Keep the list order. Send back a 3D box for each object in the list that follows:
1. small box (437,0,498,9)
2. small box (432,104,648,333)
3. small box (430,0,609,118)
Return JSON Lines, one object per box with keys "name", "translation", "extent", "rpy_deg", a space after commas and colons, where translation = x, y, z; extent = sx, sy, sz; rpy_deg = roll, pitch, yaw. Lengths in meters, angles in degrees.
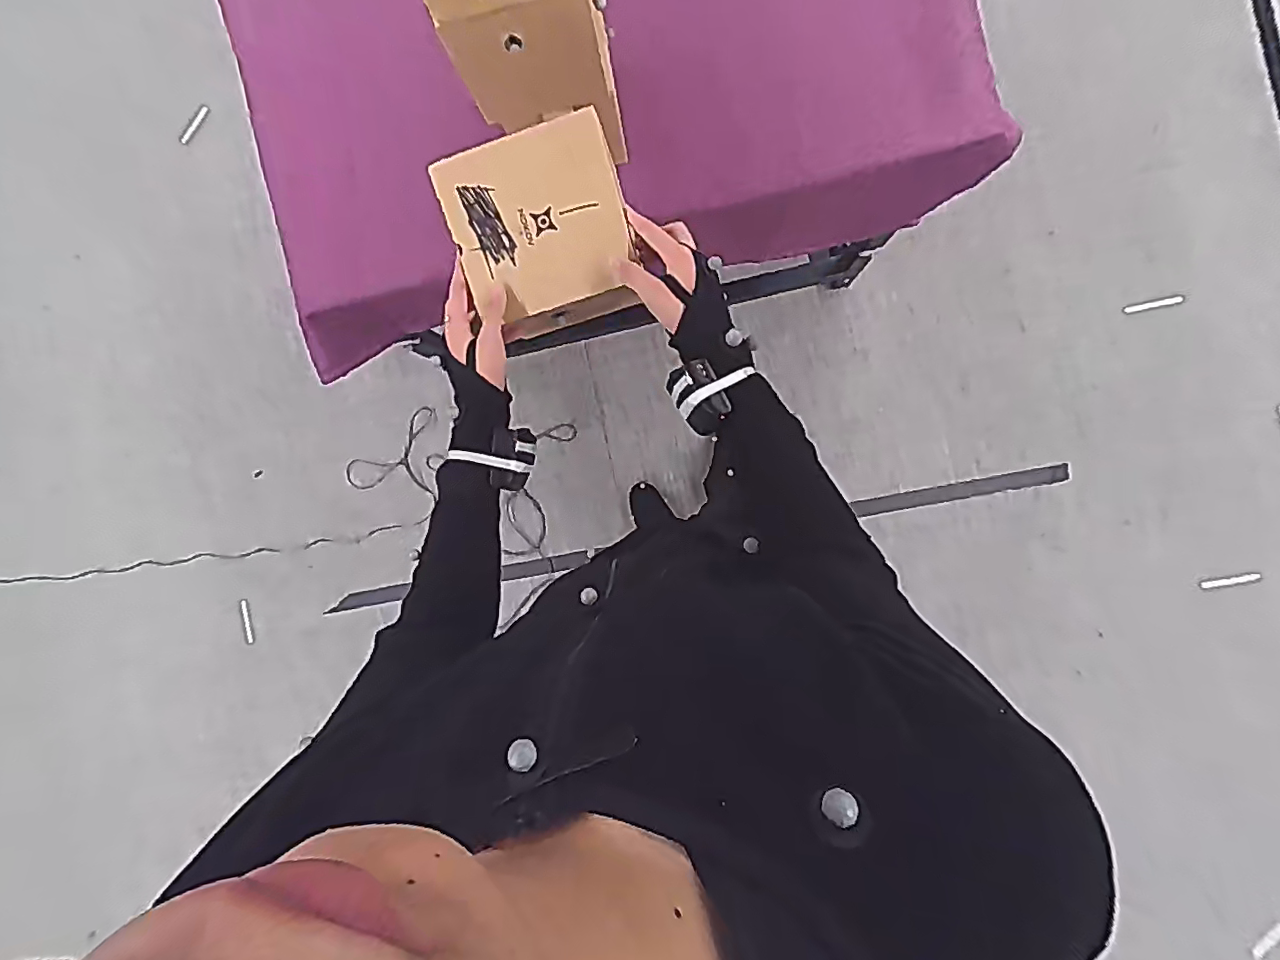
{"name": "small box", "translation": [-0.161, -0.594, 0.504], "extent": [0.168, 0.176, 0.179], "rpy_deg": [-10, 88, 5]}
{"name": "small box", "translation": [-0.097, -0.273, 0.613], "extent": [0.179, 0.176, 0.168], "rpy_deg": [-16, 100, 6]}
{"name": "small box", "translation": [-0.146, -0.588, 0.666], "extent": [0.179, 0.176, 0.168], "rpy_deg": [-9, 90, 5]}
